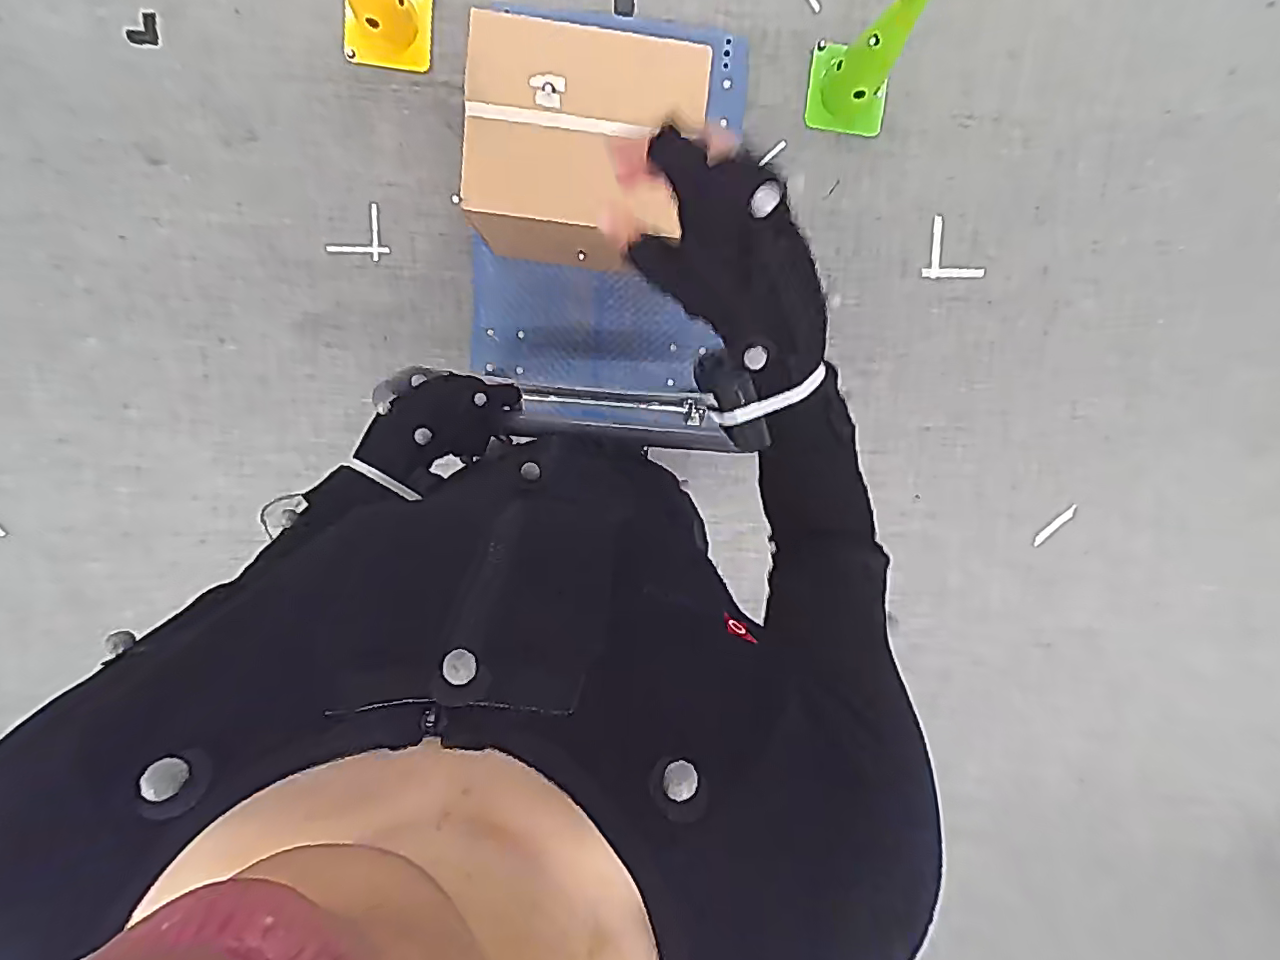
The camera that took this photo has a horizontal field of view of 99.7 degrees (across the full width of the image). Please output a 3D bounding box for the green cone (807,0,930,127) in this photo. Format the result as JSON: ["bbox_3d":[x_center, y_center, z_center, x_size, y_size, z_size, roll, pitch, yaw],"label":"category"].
[{"bbox_3d":[0.541,-0.985,1.198,0.202,0.368,0.200,5,98,-5],"label":"green cone"}]

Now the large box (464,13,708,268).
[{"bbox_3d":[-0.099,-0.628,1.071,0.408,0.320,0.320,6,98,-3],"label":"large box"}]
